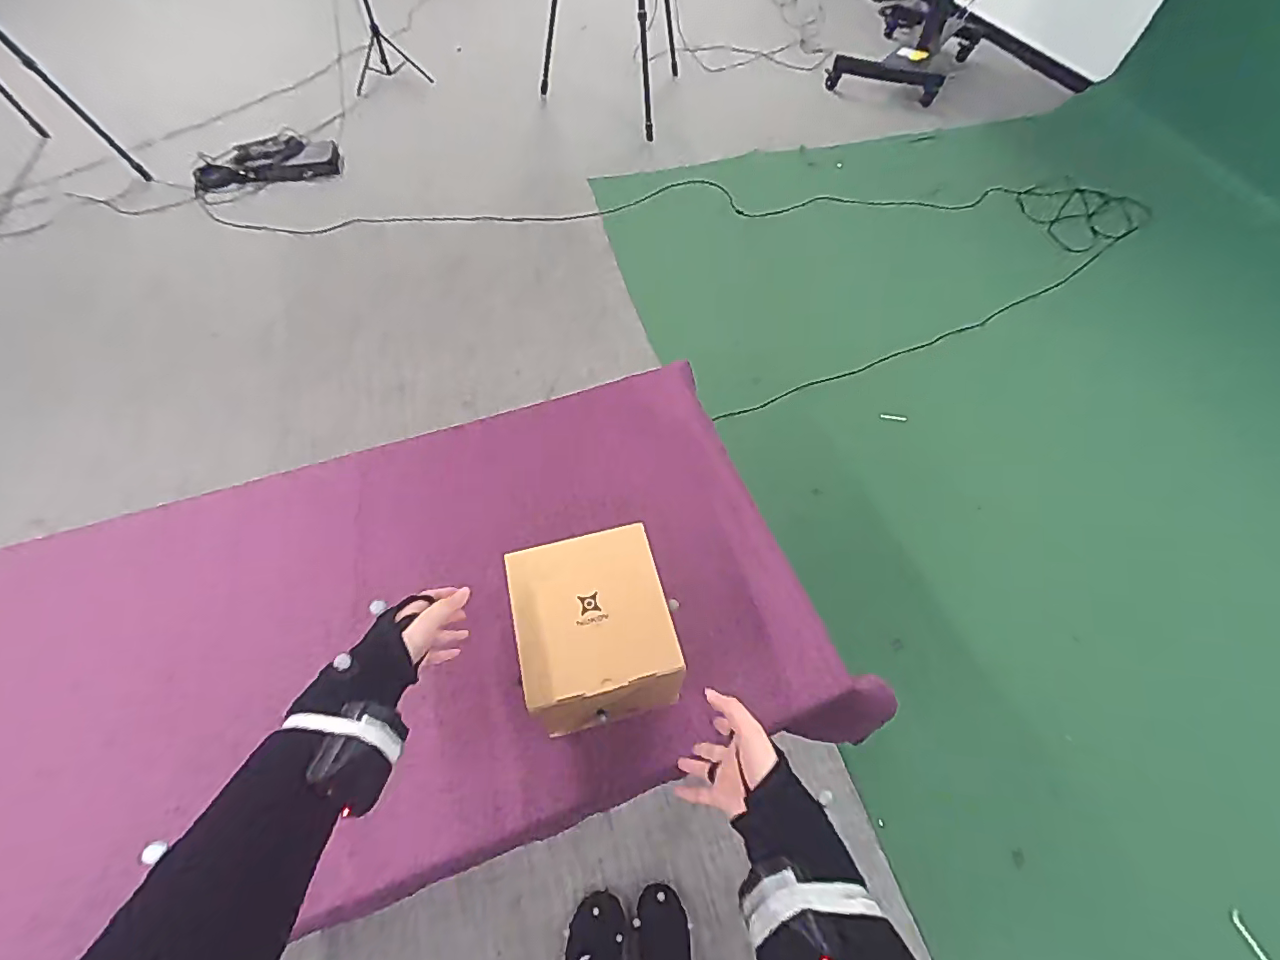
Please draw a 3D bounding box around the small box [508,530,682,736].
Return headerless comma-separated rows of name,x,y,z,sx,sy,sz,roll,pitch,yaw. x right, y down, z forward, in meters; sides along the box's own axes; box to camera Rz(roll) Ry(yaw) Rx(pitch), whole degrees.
small box,-0.056,0.188,0.655,0.168,0.176,0.179,-12,58,-8
